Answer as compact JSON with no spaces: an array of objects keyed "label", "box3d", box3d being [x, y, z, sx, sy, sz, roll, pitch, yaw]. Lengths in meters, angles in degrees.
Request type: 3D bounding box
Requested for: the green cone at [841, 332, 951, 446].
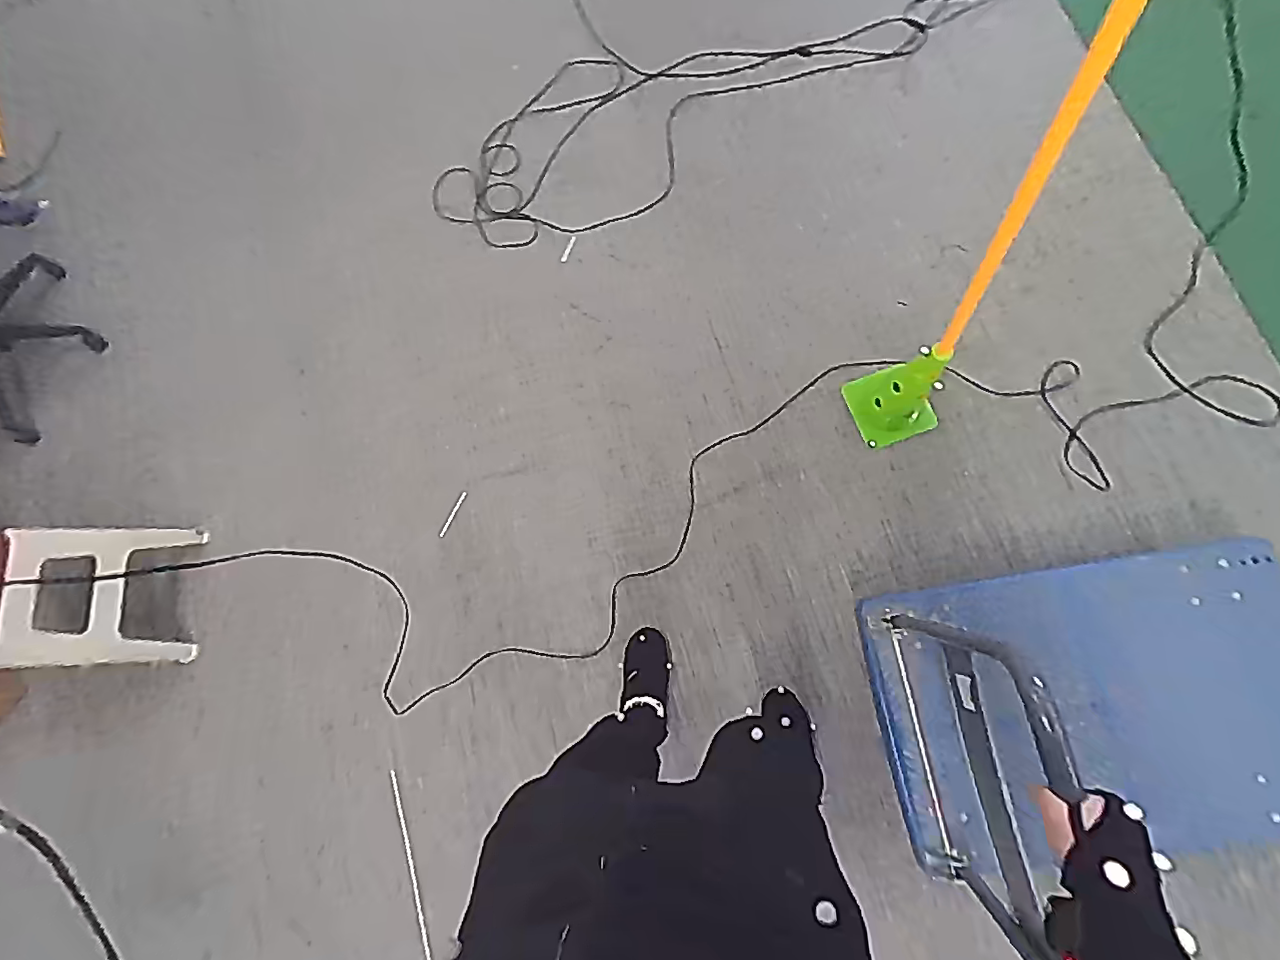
[{"label":"green cone","box3d":[0.650,-0.245,1.288,0.200,0.368,0.202,-21,76,2]}]
